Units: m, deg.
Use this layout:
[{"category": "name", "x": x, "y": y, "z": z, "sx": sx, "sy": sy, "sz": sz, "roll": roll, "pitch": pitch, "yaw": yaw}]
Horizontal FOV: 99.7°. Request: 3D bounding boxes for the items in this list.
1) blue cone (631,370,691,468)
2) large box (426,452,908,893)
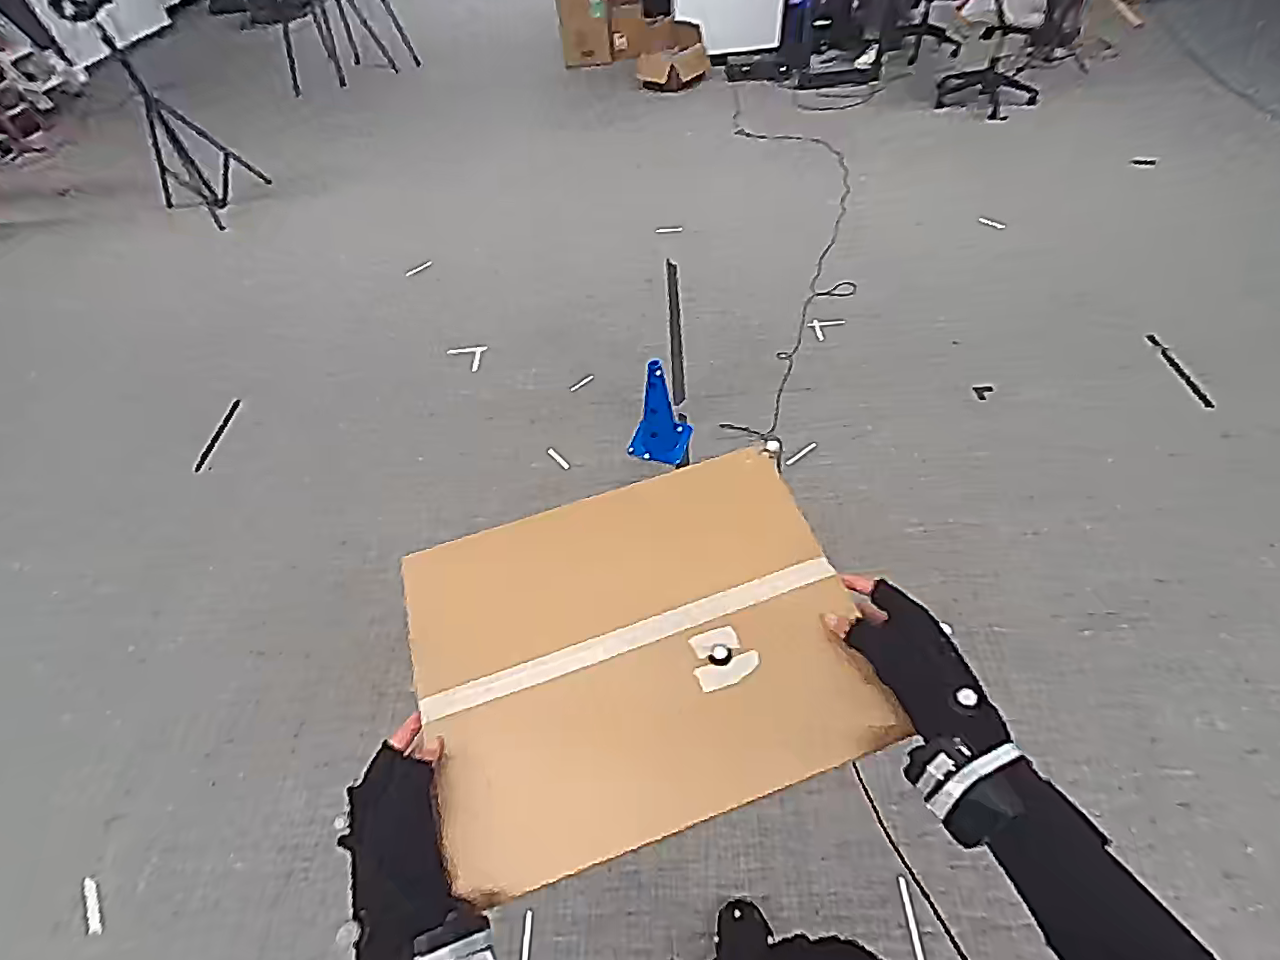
[{"category": "blue cone", "x": 0.063, "y": -0.230, "z": 1.847, "sx": 0.193, "sy": 0.380, "sz": 0.192, "roll": 13, "pitch": 55, "yaw": 17}, {"category": "large box", "x": 0.012, "y": 0.224, "z": 0.652, "sx": 0.408, "sy": 0.320, "sz": 0.320, "roll": -17, "pitch": 61, "yaw": -6}]
